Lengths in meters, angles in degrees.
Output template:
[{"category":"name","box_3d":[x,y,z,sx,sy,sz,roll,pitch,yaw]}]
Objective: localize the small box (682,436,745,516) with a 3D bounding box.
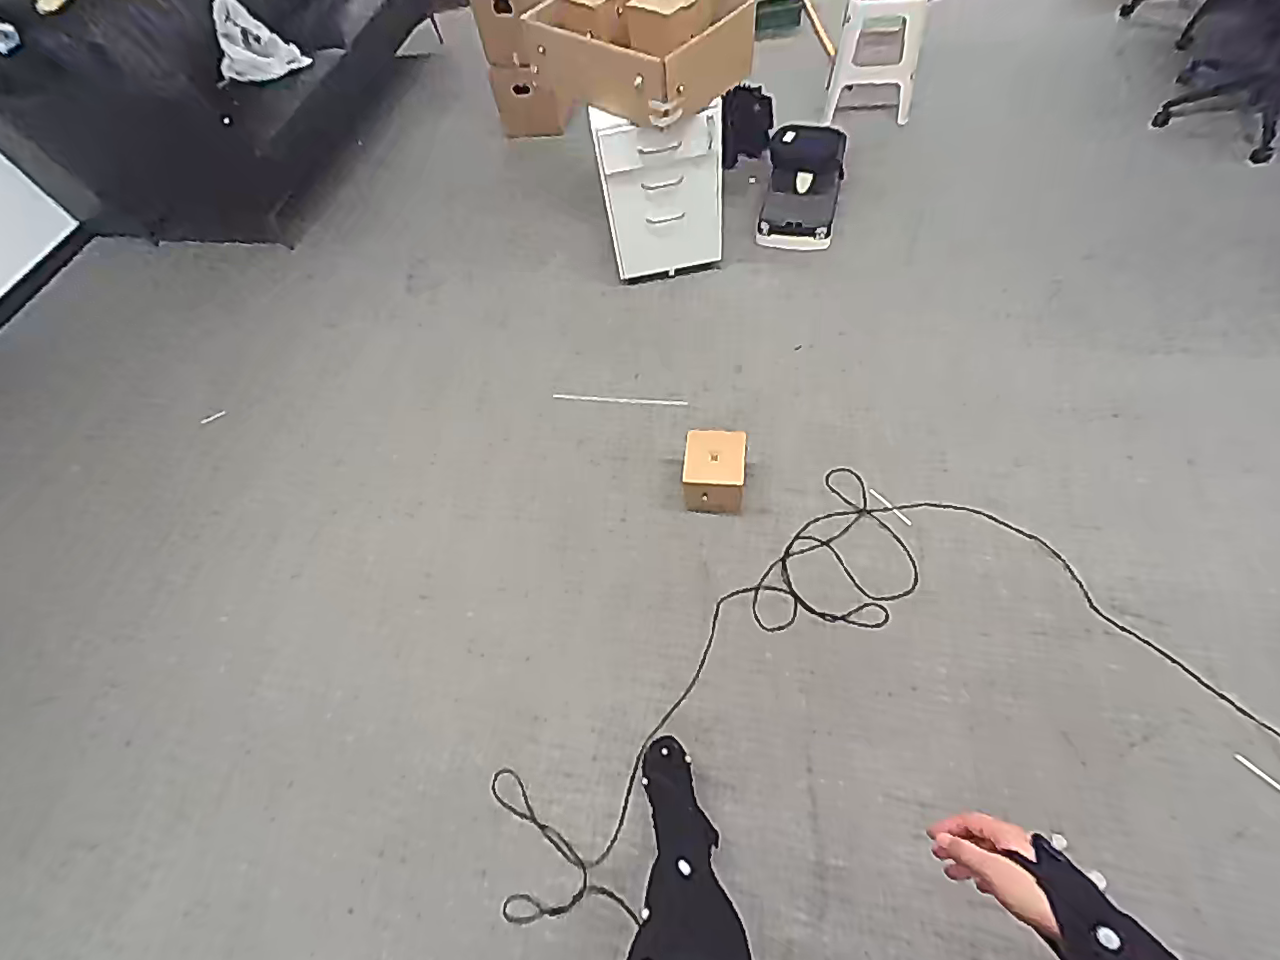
[{"category":"small box","box_3d":[0.217,-0.009,1.565,0.168,0.176,0.179,2,59,11]}]
